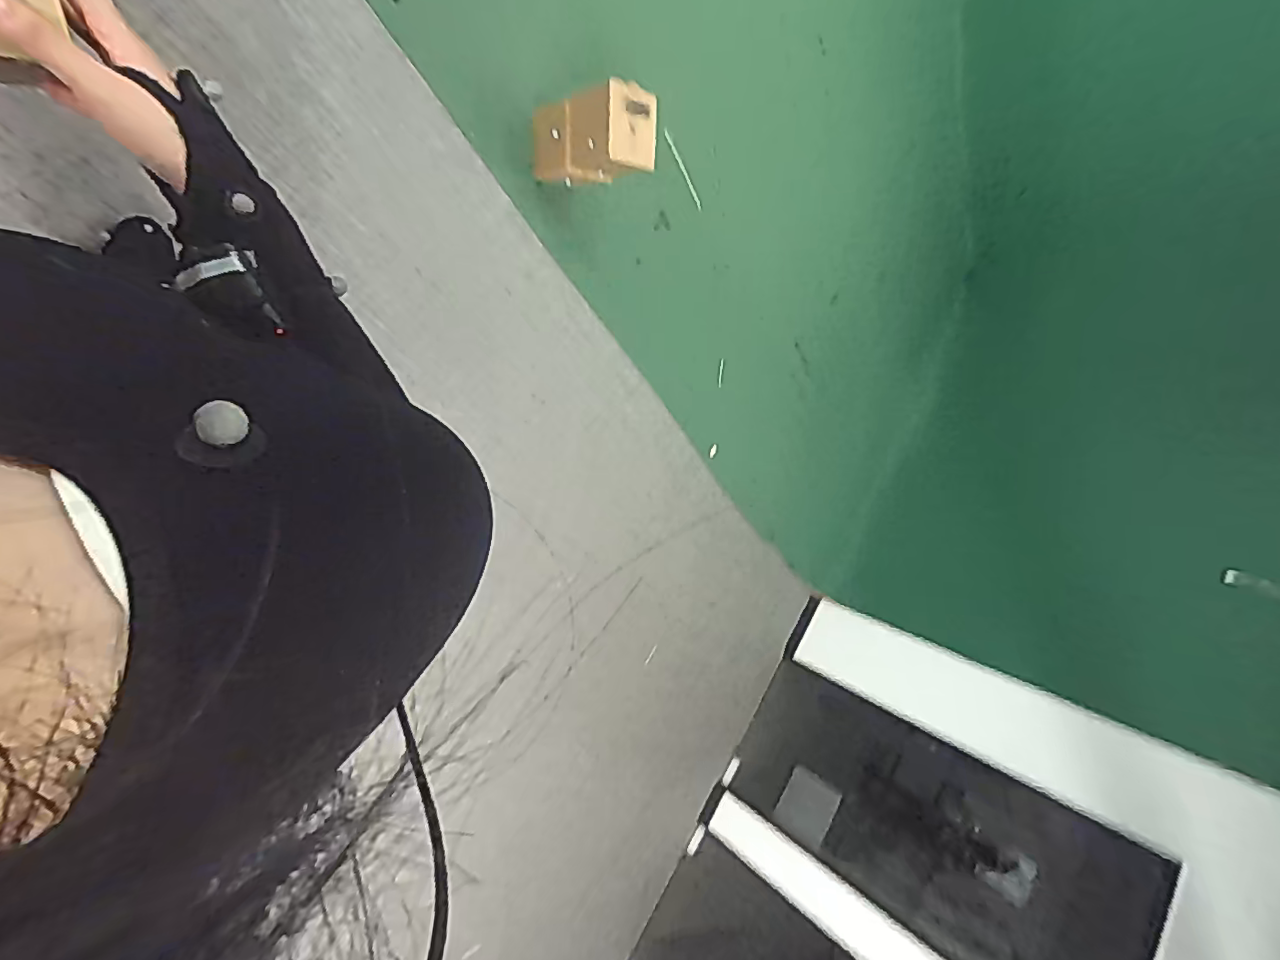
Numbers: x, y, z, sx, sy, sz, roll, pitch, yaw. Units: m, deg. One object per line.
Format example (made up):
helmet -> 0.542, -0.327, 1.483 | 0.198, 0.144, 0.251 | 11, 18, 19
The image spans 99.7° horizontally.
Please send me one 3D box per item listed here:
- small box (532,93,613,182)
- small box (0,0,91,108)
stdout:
small box -> -0.196, -0.969, 1.548 | 0.168, 0.176, 0.179 | -16, 116, -42
small box -> -0.430, -0.316, 0.279 | 0.168, 0.176, 0.179 | -19, 125, -40
